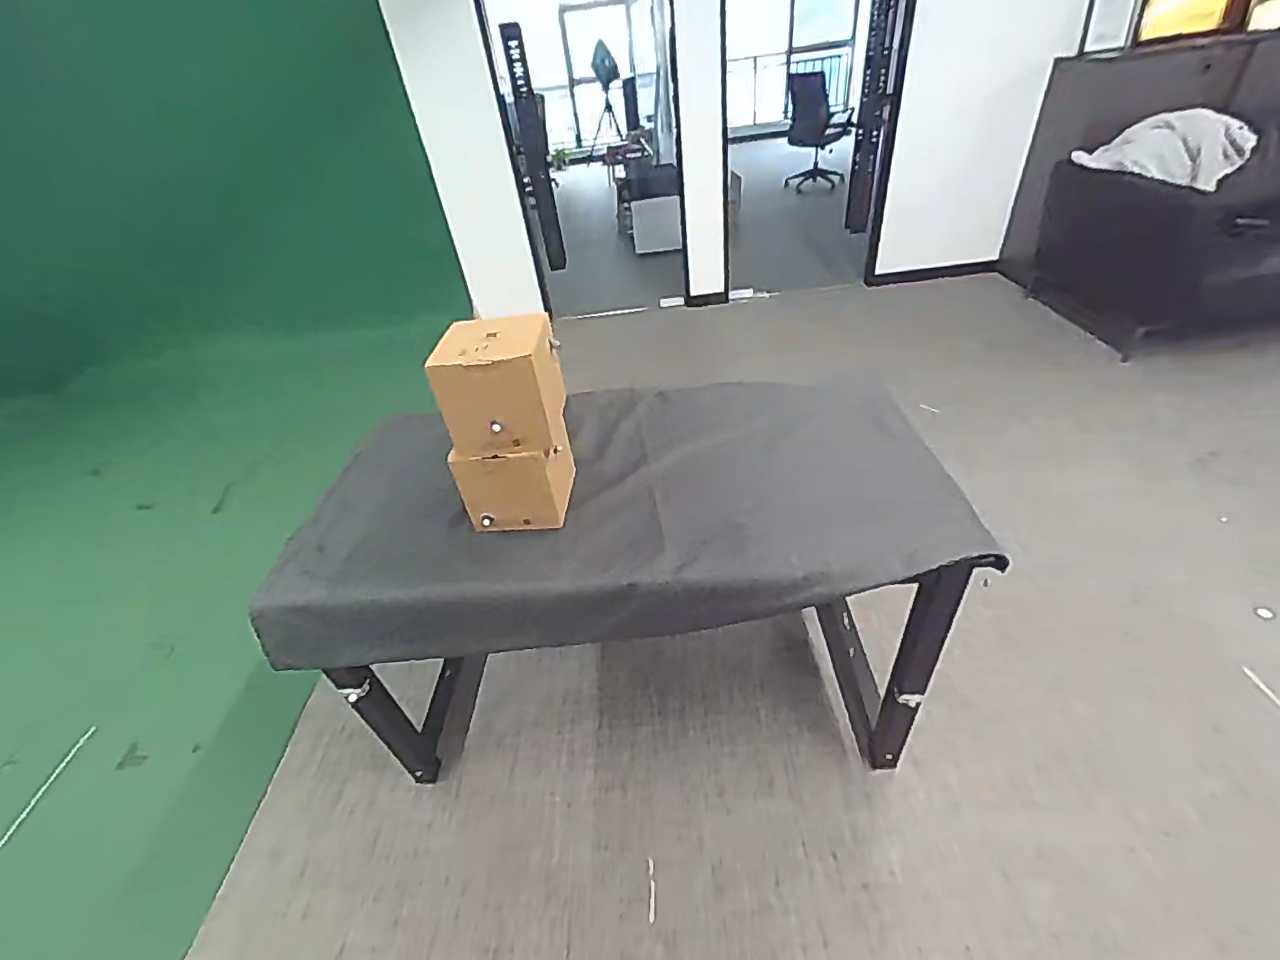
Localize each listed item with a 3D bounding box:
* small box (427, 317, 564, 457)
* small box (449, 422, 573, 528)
[{"bbox_3d":[-0.229,-0.158,0.914,0.168,0.176,0.179,-5,38,4],"label":"small box"},{"bbox_3d":[-0.227,-0.022,1.009,0.168,0.176,0.179,-3,37,6],"label":"small box"}]
